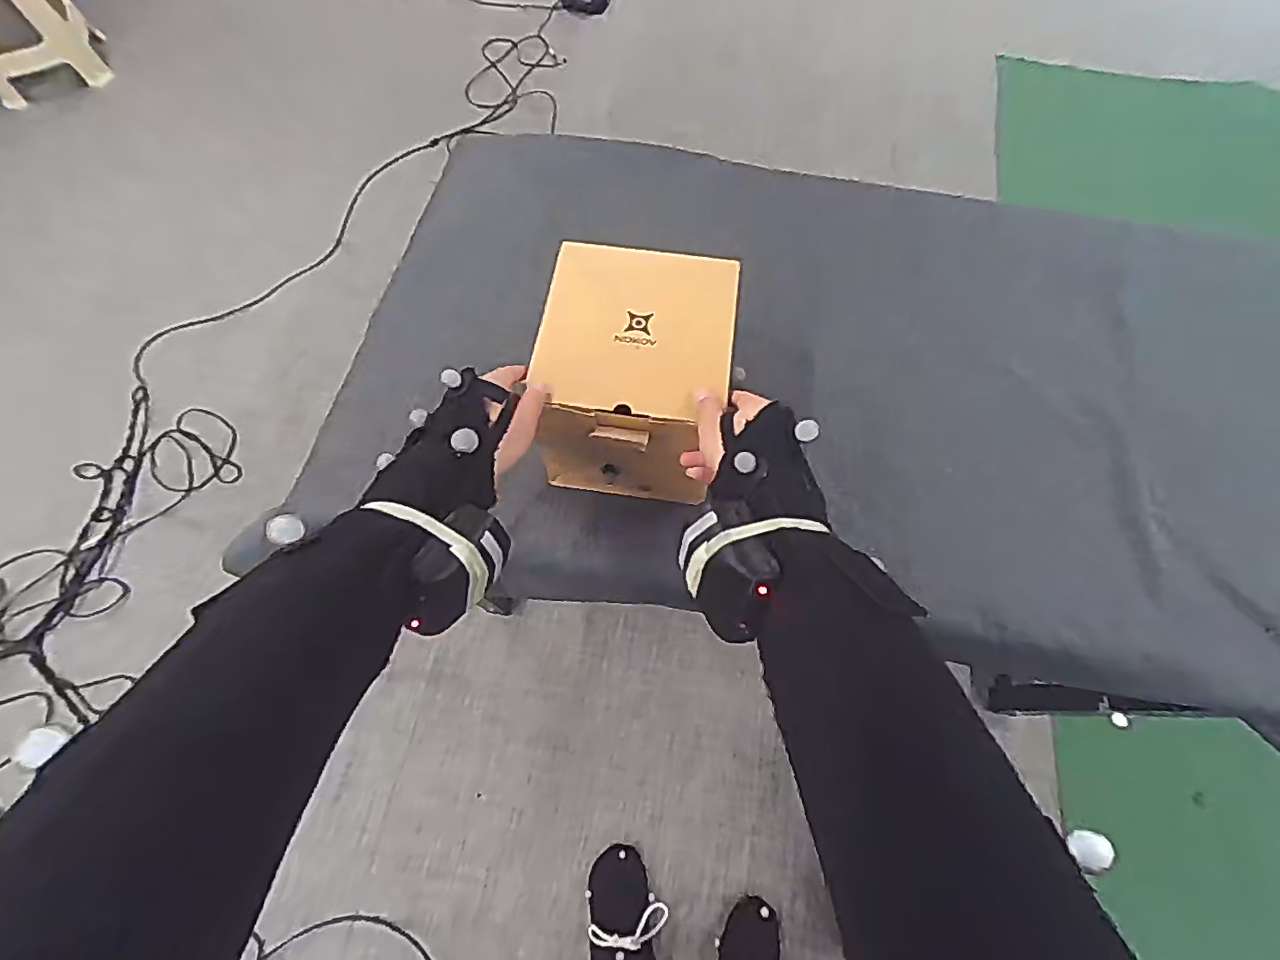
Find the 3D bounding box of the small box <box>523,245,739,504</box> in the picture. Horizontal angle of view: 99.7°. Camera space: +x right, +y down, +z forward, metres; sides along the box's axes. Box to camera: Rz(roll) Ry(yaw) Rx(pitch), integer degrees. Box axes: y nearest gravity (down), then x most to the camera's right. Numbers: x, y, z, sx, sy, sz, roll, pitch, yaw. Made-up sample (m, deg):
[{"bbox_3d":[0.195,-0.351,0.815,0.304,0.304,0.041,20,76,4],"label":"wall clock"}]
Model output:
[{"bbox_3d":[-0.004,-0.094,0.530,0.168,0.176,0.179,7,67,2],"label":"small box"}]
